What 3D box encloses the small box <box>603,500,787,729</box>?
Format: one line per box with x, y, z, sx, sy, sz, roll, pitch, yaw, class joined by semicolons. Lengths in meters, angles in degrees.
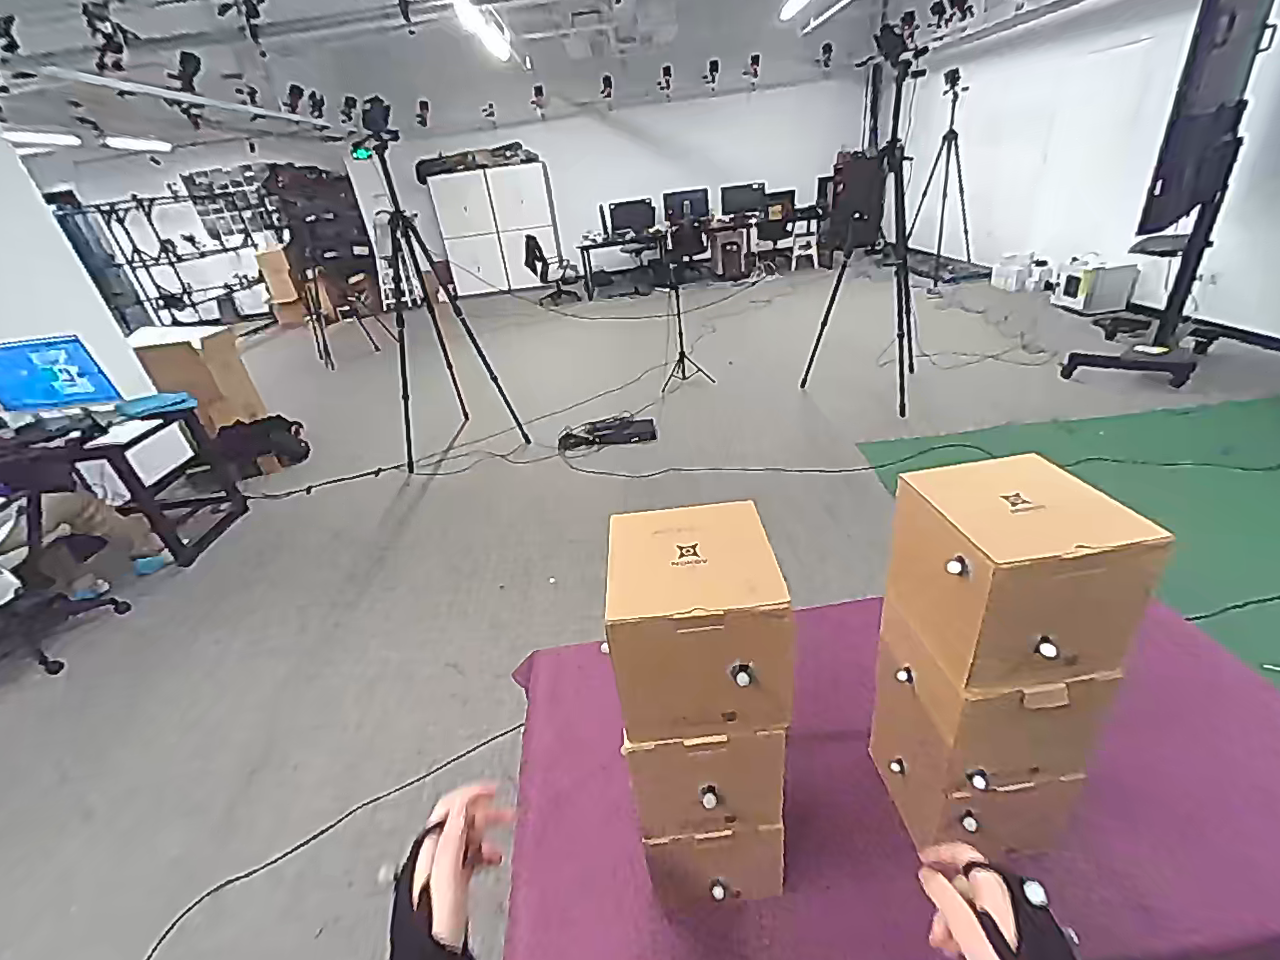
0.058;0.144;0.580;0.168;0.176;0.179;-6;28;2;small box

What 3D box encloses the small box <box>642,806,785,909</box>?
0.090;0.434;0.733;0.168;0.176;0.179;-9;29;0;small box

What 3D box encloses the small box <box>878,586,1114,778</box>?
0.412;0.236;0.663;0.168;0.176;0.179;-9;27;-1;small box

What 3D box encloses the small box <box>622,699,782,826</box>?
0.069;0.289;0.657;0.168;0.176;0.179;-8;30;0;small box

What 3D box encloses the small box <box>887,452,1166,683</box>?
0.393;0.090;0.593;0.168;0.176;0.179;-9;29;-2;small box
